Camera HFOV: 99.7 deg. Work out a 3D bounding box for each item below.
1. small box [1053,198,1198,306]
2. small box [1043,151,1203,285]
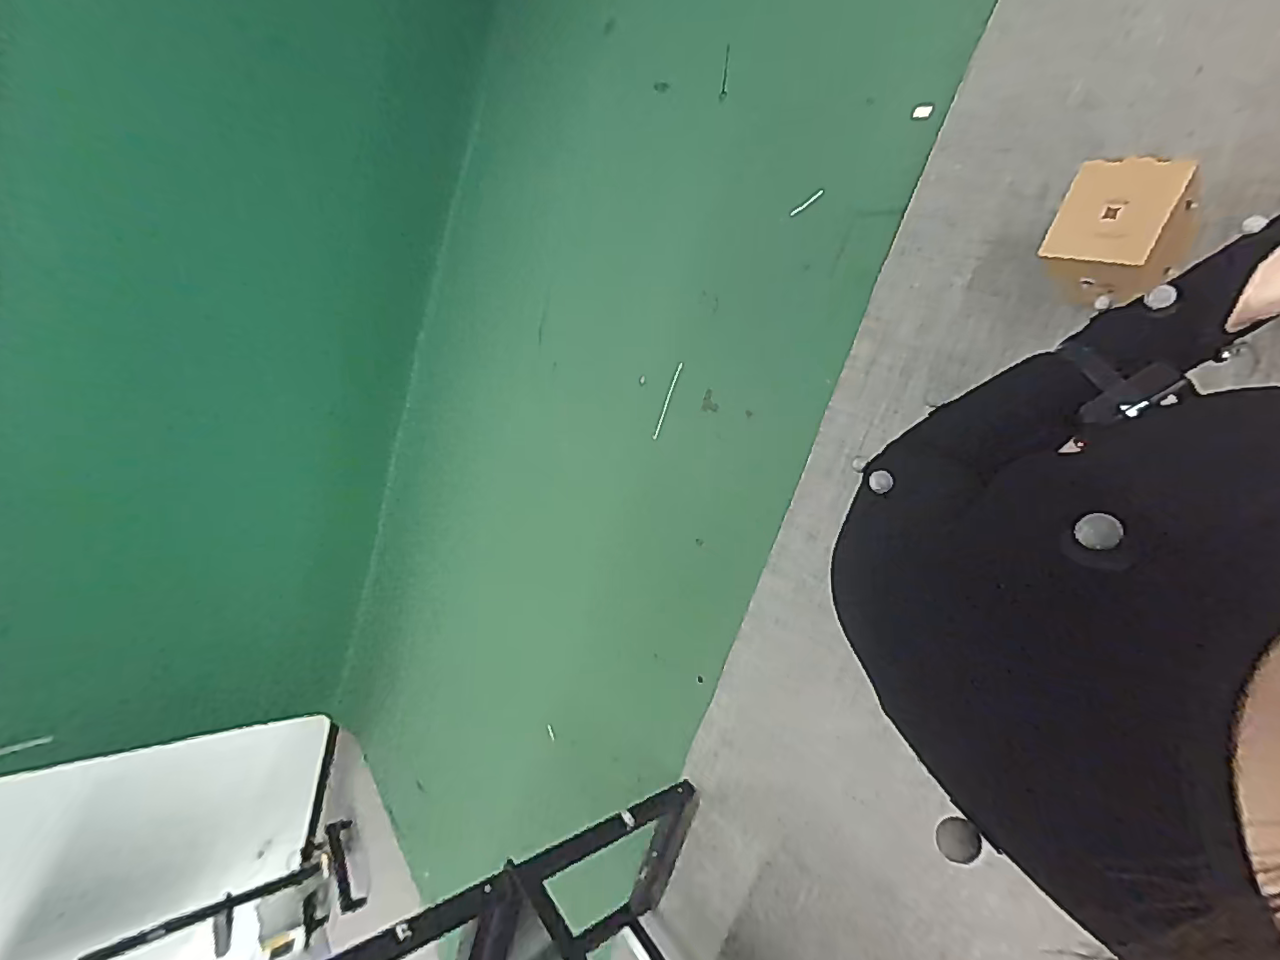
[{"bbox_3d":[1.022,-0.484,1.137,0.168,0.176,0.179,36,112,41],"label":"small box"},{"bbox_3d":[0.908,-0.490,1.022,0.168,0.176,0.179,32,110,43],"label":"small box"}]
